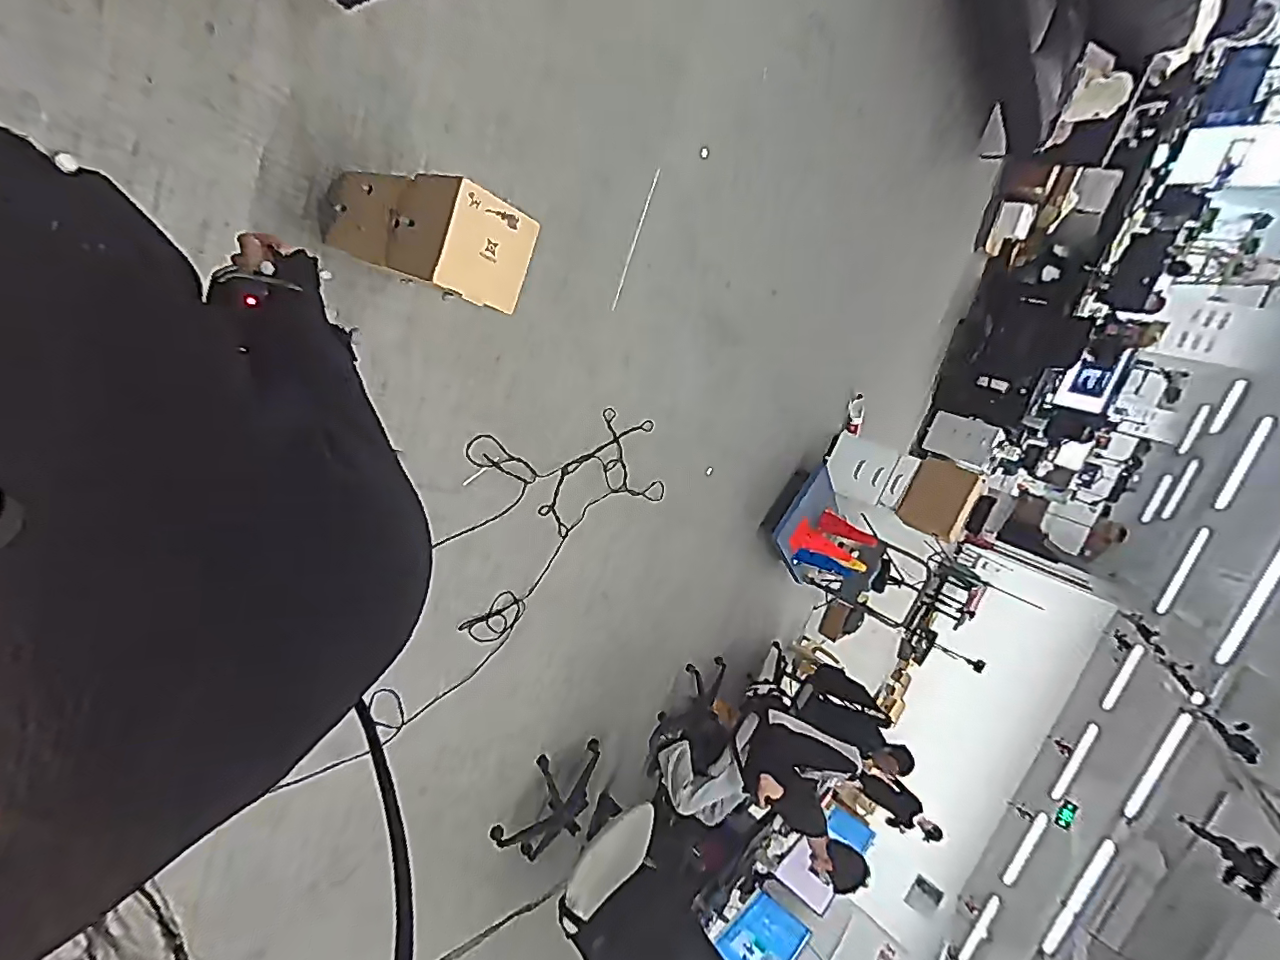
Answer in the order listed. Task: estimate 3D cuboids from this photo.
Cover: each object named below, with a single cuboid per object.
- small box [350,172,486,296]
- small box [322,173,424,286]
[{"bbox_3d":[-0.444,-0.485,1.072,0.179,0.176,0.168,7,106,-53],"label":"small box"},{"bbox_3d":[-0.553,-0.547,1.179,0.179,0.176,0.168,11,103,-53],"label":"small box"}]
